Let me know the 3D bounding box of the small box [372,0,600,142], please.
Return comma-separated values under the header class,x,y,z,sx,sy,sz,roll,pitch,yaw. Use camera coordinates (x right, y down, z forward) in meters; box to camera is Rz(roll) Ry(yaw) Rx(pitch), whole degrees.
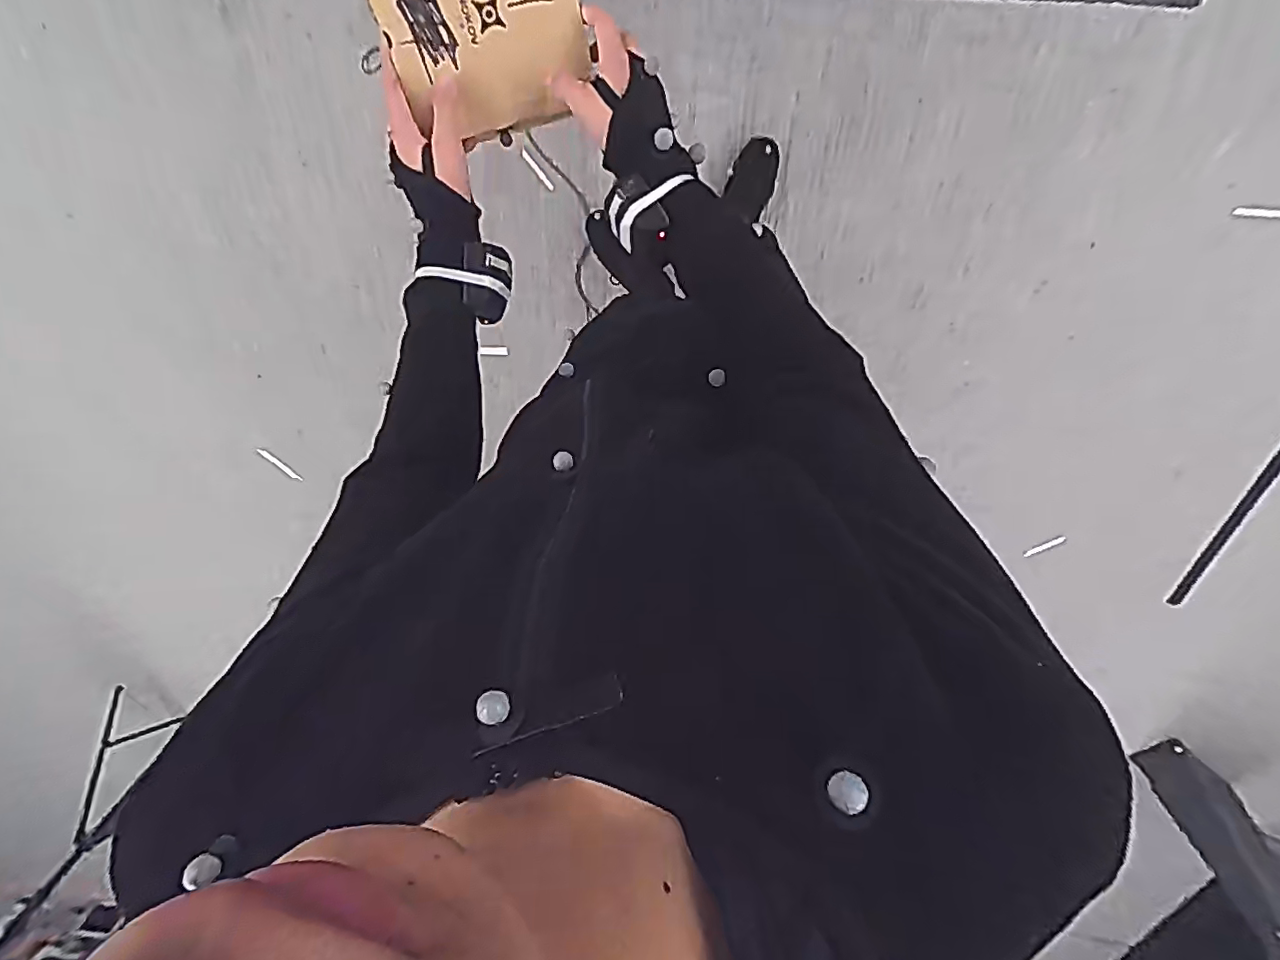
class,x,y,z,sx,sy,sz,roll,pitch,yaw
small box,-0.146,-0.446,0.531,0.179,0.176,0.168,-15,122,0
